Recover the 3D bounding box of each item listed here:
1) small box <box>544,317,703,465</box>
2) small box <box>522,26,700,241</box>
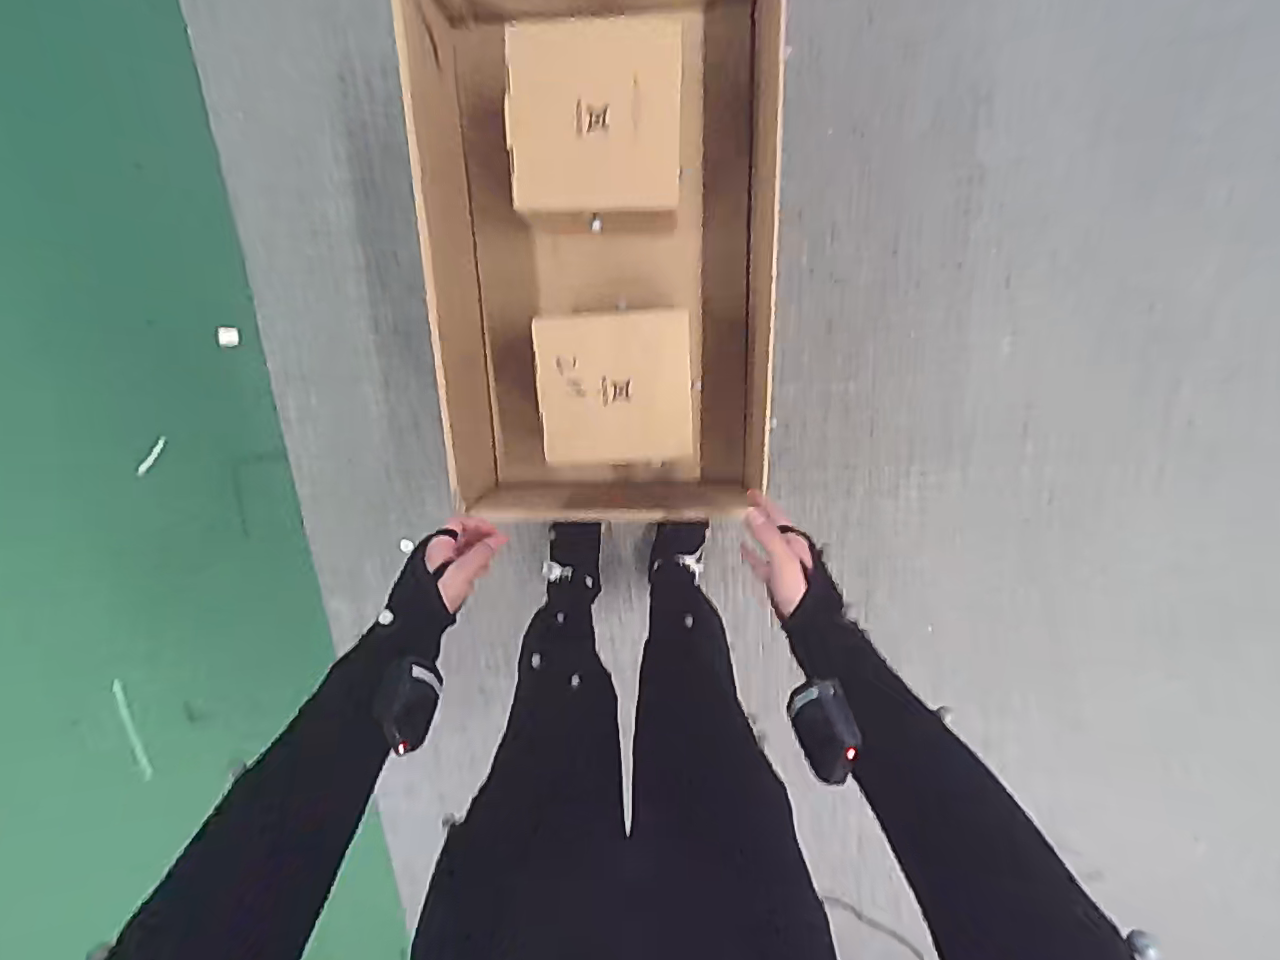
[{"bbox_3d":[-0.014,-0.117,0.682,0.179,0.176,0.168,-1,104,4],"label":"small box"},{"bbox_3d":[-0.029,-0.378,0.620,0.179,0.176,0.168,2,105,0],"label":"small box"}]
